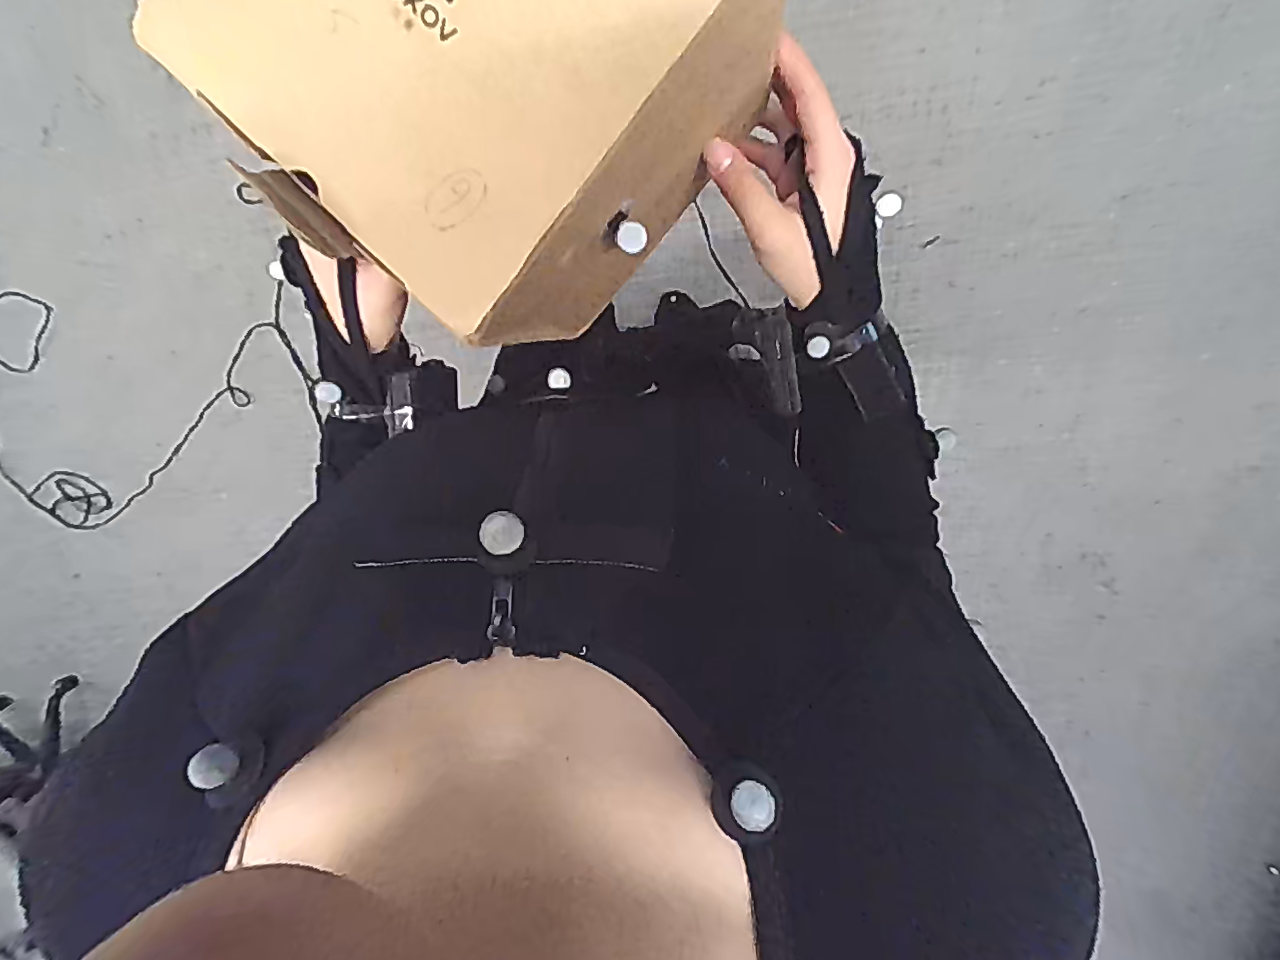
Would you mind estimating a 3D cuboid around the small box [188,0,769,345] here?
[{"bbox_3d":[-0.052,-0.188,0.269,0.168,0.176,0.179,42,108,-4],"label":"small box"}]
